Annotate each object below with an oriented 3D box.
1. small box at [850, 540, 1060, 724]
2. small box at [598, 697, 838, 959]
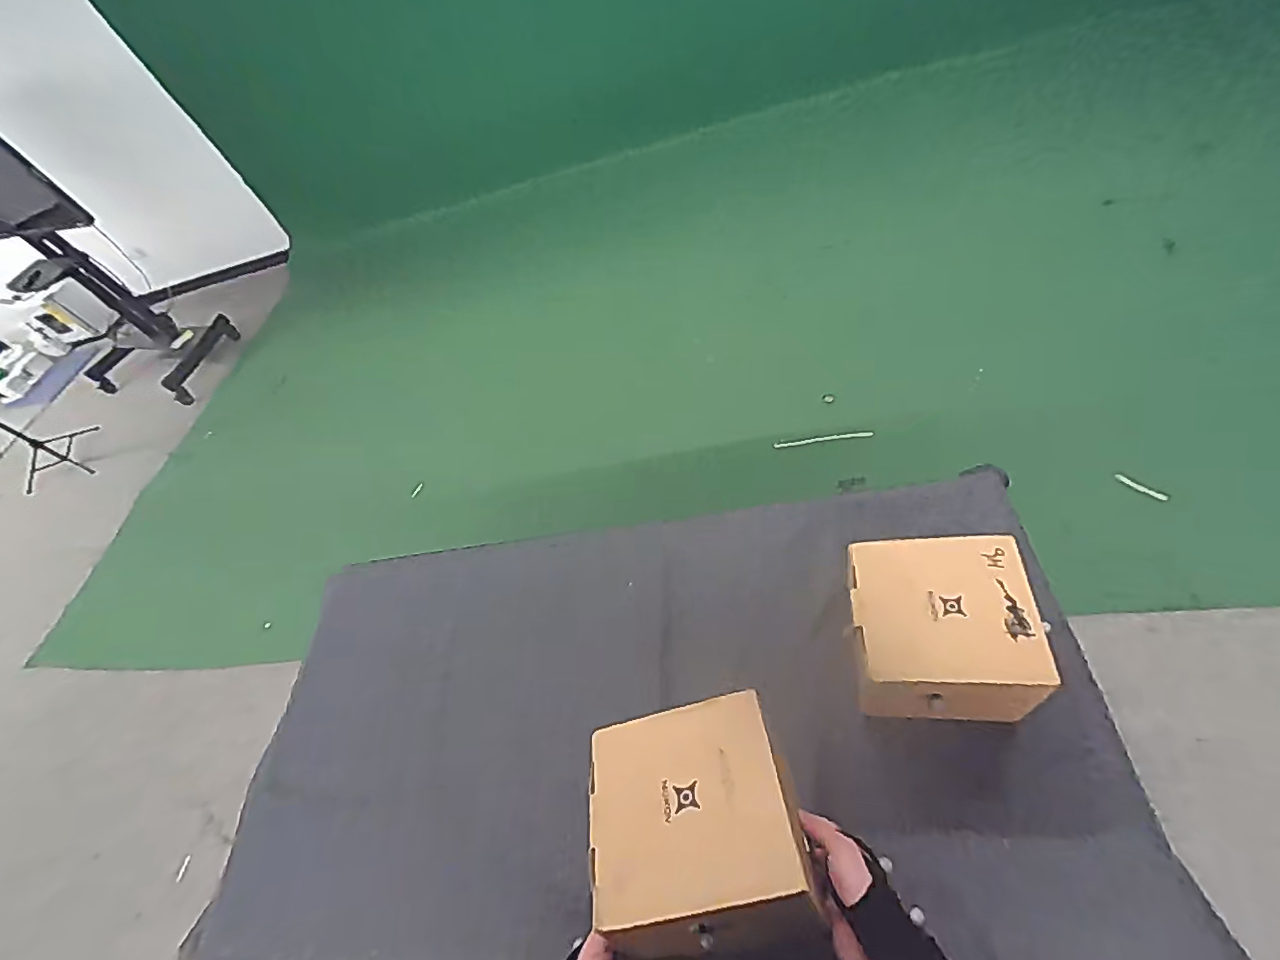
[{"bbox_3d":[0.355,0.186,0.647,0.179,0.176,0.168,-5,55,18],"label":"small box"},{"bbox_3d":[0.071,0.344,0.521,0.179,0.176,0.168,-18,37,8],"label":"small box"}]
